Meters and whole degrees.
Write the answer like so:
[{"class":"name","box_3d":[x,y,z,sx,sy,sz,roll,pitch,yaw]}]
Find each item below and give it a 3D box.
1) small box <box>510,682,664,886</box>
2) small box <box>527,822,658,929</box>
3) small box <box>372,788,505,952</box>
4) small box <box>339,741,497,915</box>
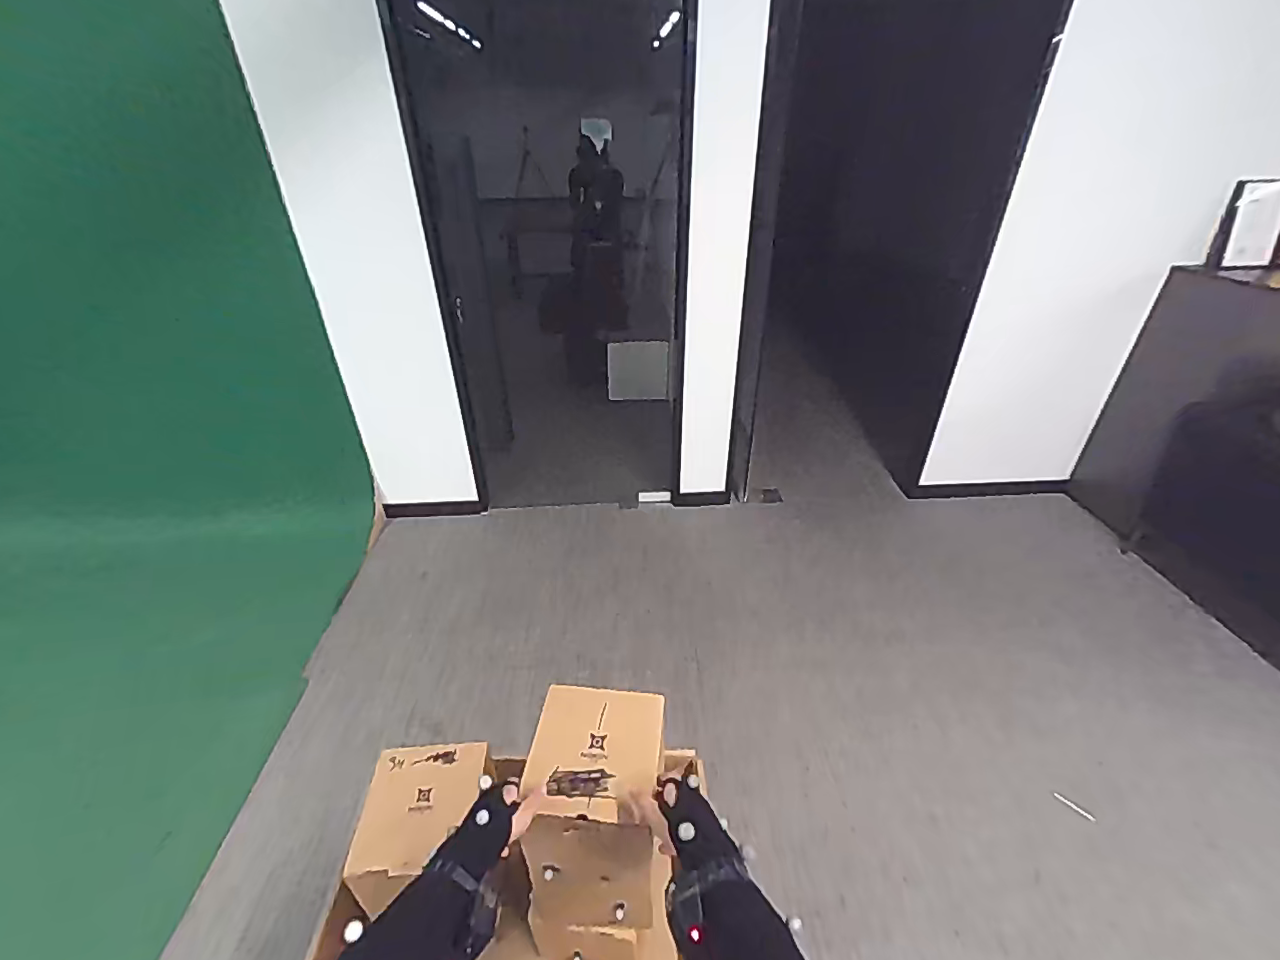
[{"class":"small box","box_3d":[-0.057,0.403,0.722,0.168,0.176,0.179,4,32,6]},{"class":"small box","box_3d":[-0.059,0.539,0.814,0.168,0.176,0.179,2,33,4]},{"class":"small box","box_3d":[-0.330,0.659,0.921,0.168,0.176,0.179,-2,33,-4]},{"class":"small box","box_3d":[-0.319,0.529,0.821,0.168,0.176,0.179,-1,33,-4]}]
